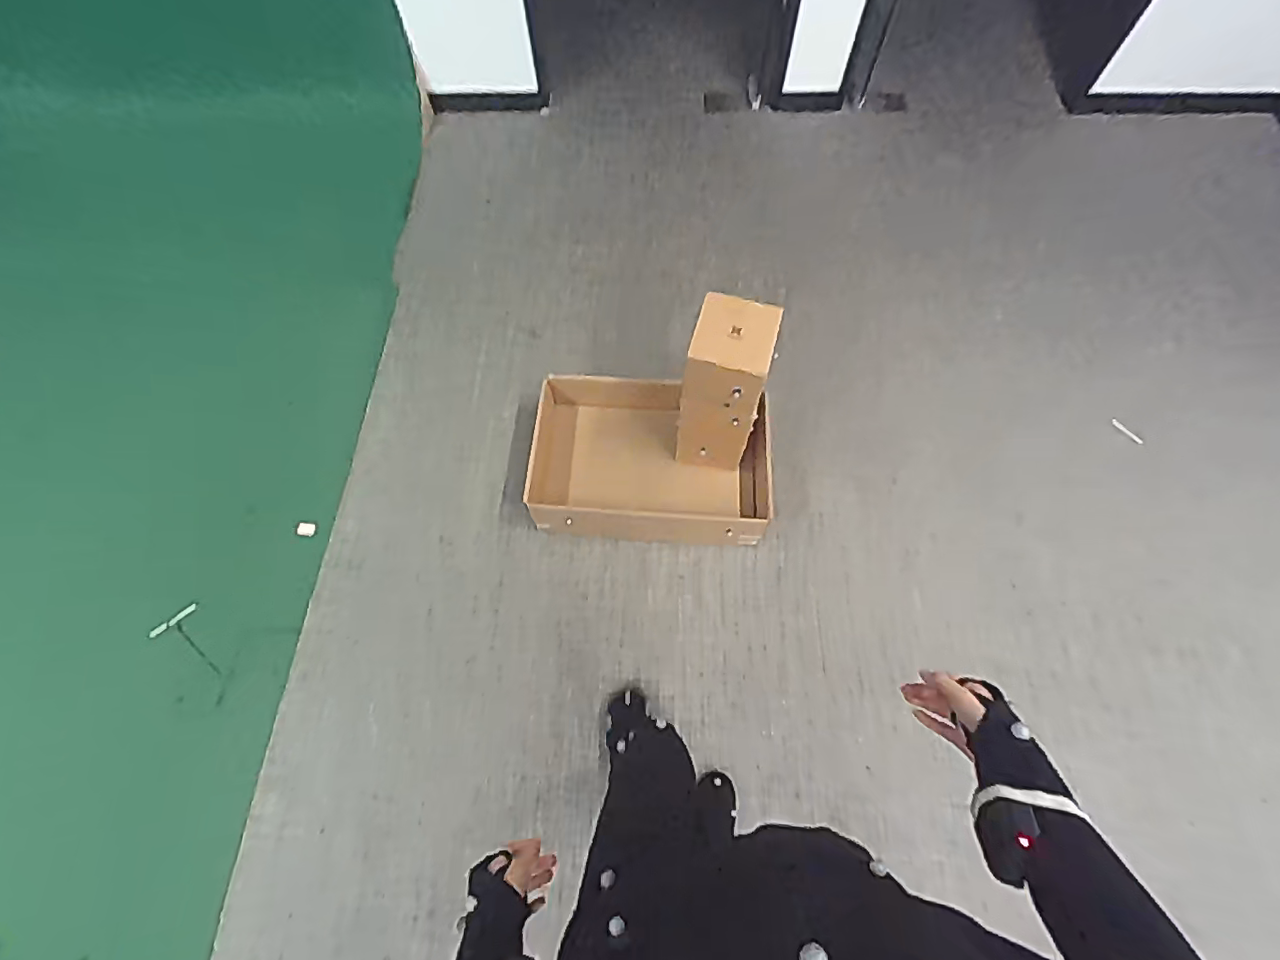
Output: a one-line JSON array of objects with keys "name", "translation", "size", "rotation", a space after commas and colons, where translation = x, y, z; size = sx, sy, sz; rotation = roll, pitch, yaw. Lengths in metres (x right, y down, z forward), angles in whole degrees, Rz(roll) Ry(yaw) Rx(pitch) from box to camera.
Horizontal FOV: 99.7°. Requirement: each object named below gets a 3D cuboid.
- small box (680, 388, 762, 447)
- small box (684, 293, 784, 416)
[{"name": "small box", "translation": [0.198, -0.198, 1.316], "size": [0.179, 0.176, 0.168], "rotation": [13, 68, 7]}, {"name": "small box", "translation": [0.196, -0.264, 1.168], "size": [0.168, 0.176, 0.179], "rotation": [17, 68, 6]}]
